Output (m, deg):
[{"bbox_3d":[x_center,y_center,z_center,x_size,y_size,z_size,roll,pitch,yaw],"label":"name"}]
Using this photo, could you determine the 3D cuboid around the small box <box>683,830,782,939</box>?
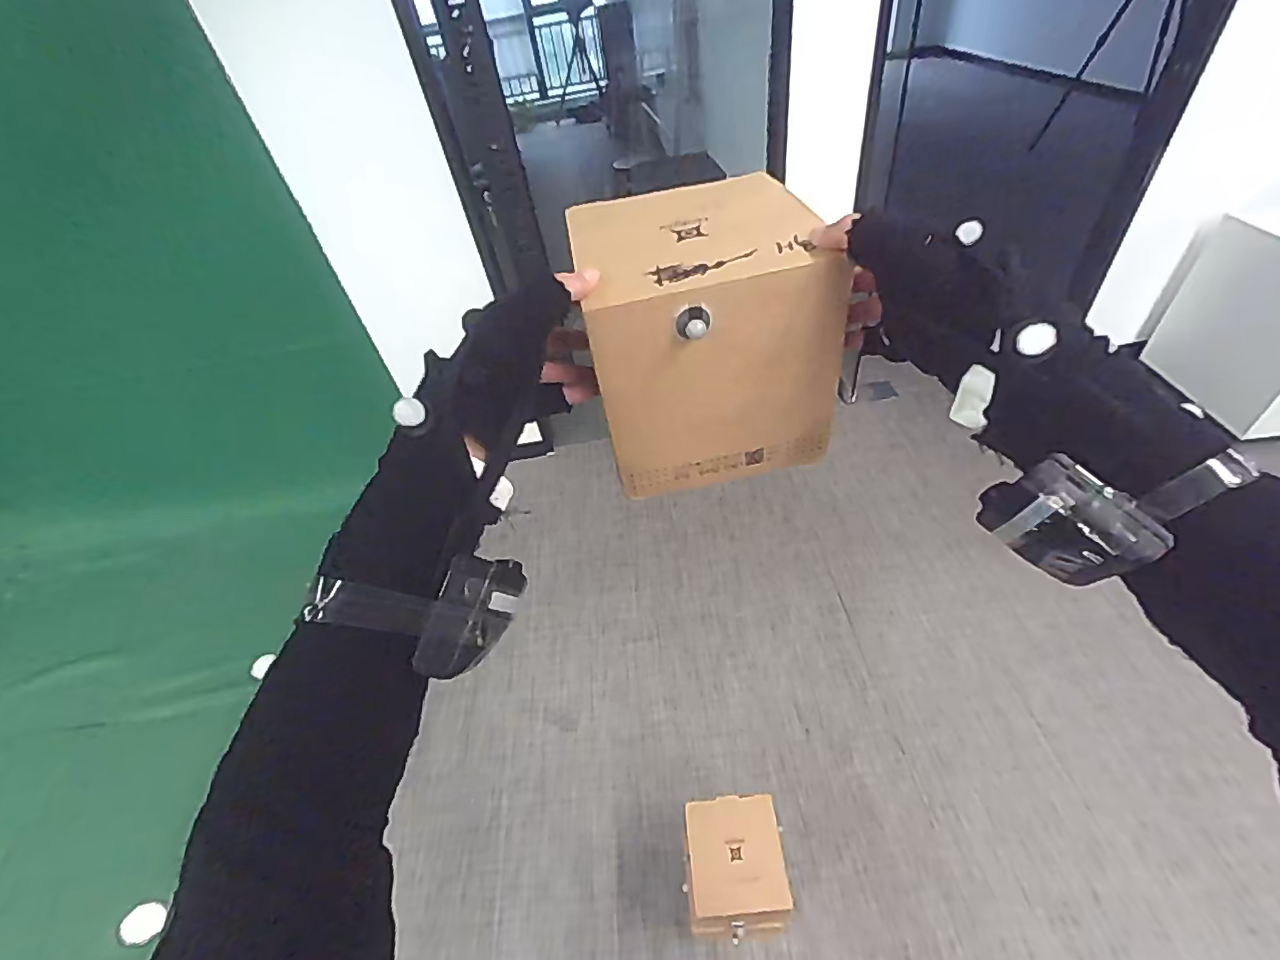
[{"bbox_3d":[0.189,0.838,1.126,0.179,0.176,0.168,-8,44,4],"label":"small box"}]

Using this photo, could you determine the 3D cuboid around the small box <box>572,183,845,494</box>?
[{"bbox_3d":[0.044,-0.116,0.441,0.168,0.176,0.179,-12,44,0],"label":"small box"}]

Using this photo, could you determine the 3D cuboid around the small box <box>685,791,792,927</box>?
[{"bbox_3d":[0.181,0.716,1.021,0.168,0.176,0.179,-9,44,4],"label":"small box"}]
